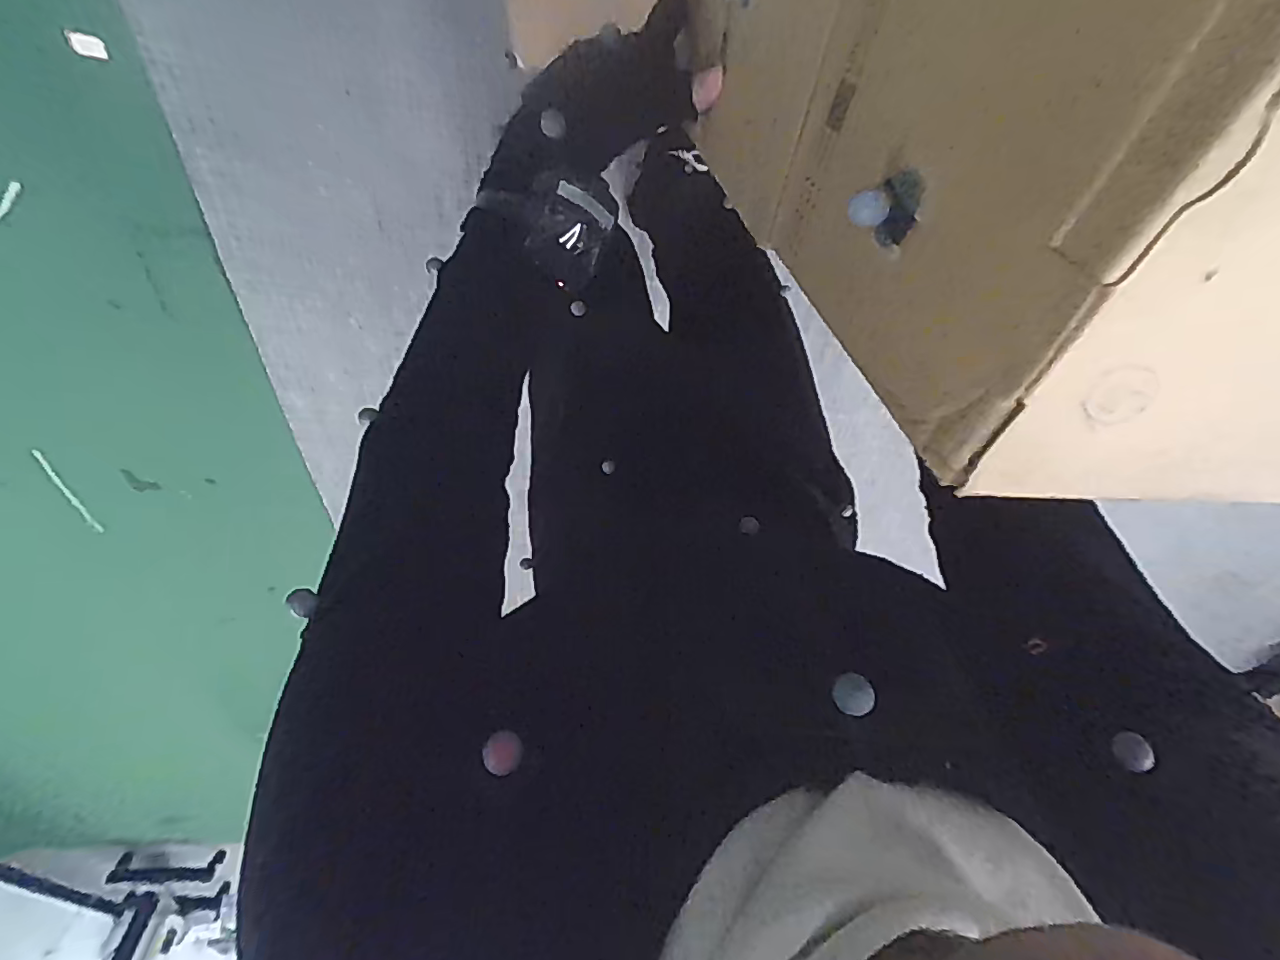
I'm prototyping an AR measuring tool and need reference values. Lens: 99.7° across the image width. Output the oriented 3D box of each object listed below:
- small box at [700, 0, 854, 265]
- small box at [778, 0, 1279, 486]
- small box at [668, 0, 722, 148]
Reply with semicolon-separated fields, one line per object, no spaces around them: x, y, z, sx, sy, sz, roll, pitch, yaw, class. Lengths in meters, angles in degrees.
0.144;-0.226;0.283;0.179;0.176;0.168;-1;136;-9;small box
0.164;-0.116;0.167;0.179;0.176;0.168;1;137;-12;small box
0.120;-0.350;0.389;0.168;0.176;0.179;2;136;-10;small box
